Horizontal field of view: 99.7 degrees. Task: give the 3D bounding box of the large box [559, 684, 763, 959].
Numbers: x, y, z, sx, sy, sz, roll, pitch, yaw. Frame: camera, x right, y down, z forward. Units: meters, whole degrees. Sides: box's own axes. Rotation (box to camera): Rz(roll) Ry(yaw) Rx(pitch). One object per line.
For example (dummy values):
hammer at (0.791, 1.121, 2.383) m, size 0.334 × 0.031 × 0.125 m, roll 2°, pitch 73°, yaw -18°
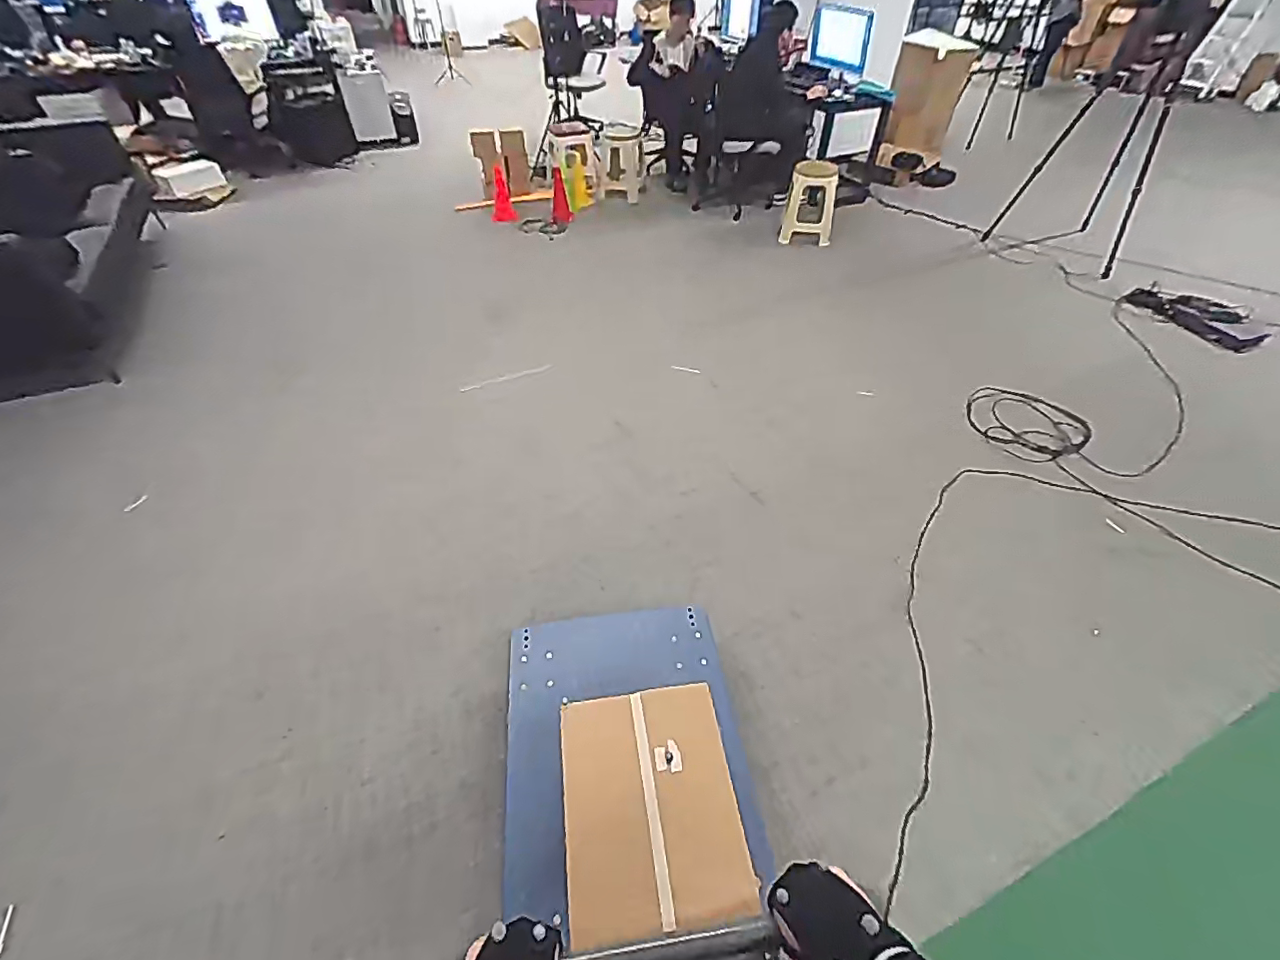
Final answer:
large box at (0.019, 0.695, 1.094) m, size 0.320 × 0.320 × 0.408 m, roll -6°, pitch 44°, yaw -7°
